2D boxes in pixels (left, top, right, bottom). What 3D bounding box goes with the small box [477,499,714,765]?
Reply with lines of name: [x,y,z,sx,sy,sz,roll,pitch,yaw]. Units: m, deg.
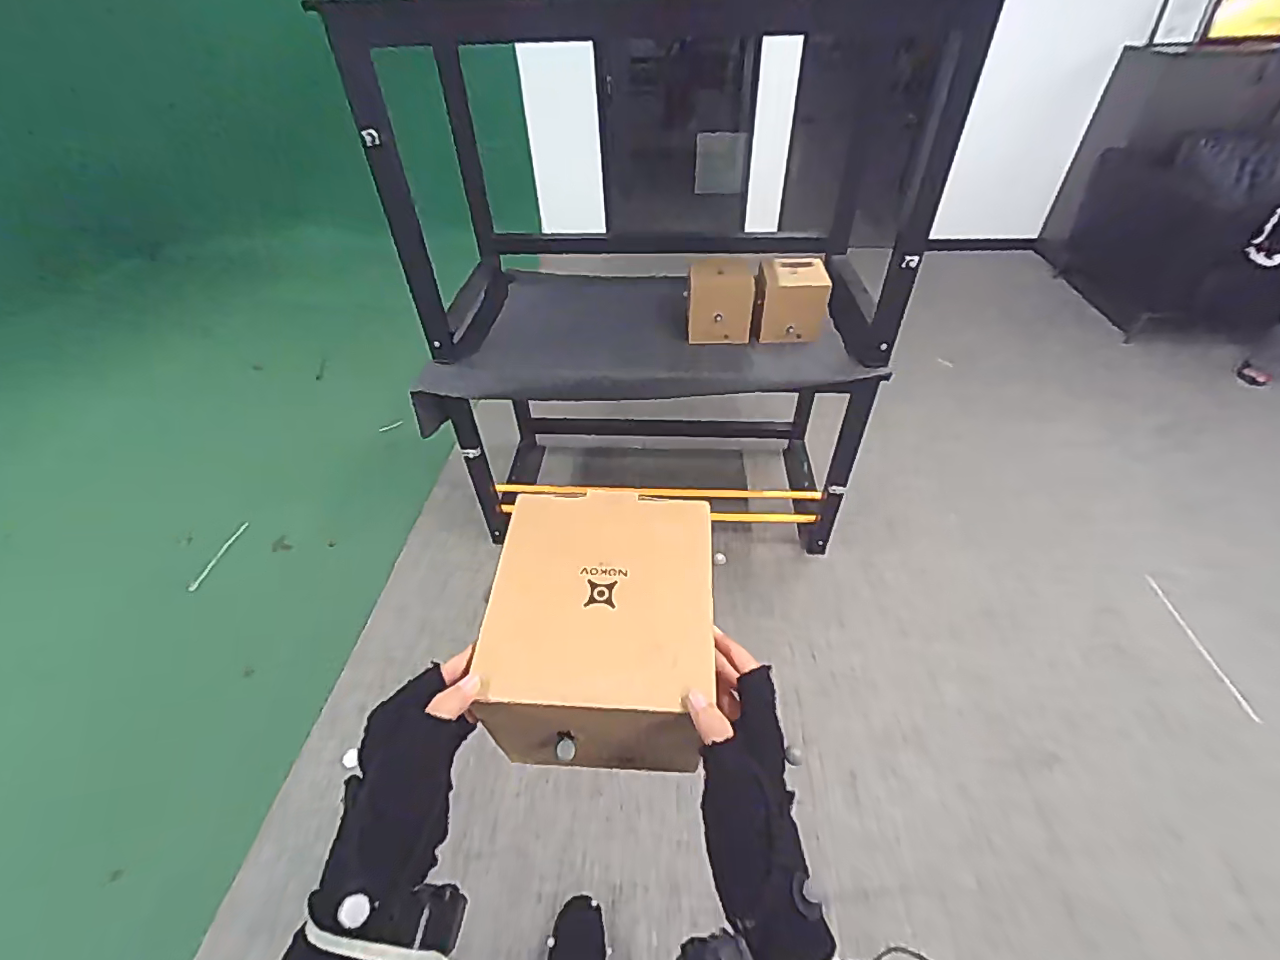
small box: [-0.025,0.136,0.475,0.168,0.176,0.179,2,49,1]
